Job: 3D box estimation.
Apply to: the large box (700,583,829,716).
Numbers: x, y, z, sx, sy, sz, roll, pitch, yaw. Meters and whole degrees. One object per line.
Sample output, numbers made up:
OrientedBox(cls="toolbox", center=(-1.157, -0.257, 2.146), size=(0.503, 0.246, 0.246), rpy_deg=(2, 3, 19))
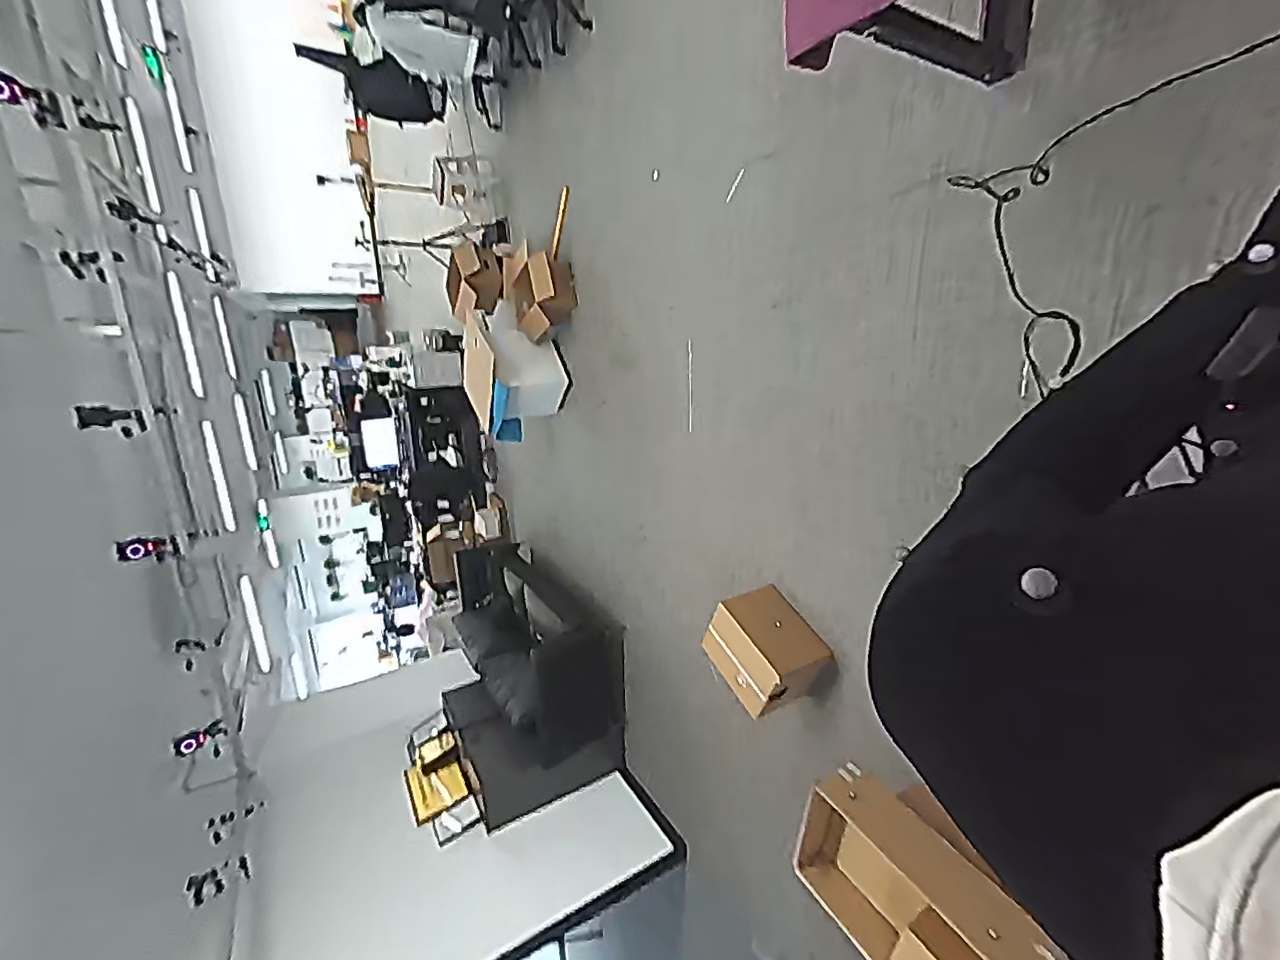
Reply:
OrientedBox(cls="large box", center=(0.529, 0.723, 2.352), size=(0.408, 0.320, 0.320), rpy_deg=(49, 139, 39))
